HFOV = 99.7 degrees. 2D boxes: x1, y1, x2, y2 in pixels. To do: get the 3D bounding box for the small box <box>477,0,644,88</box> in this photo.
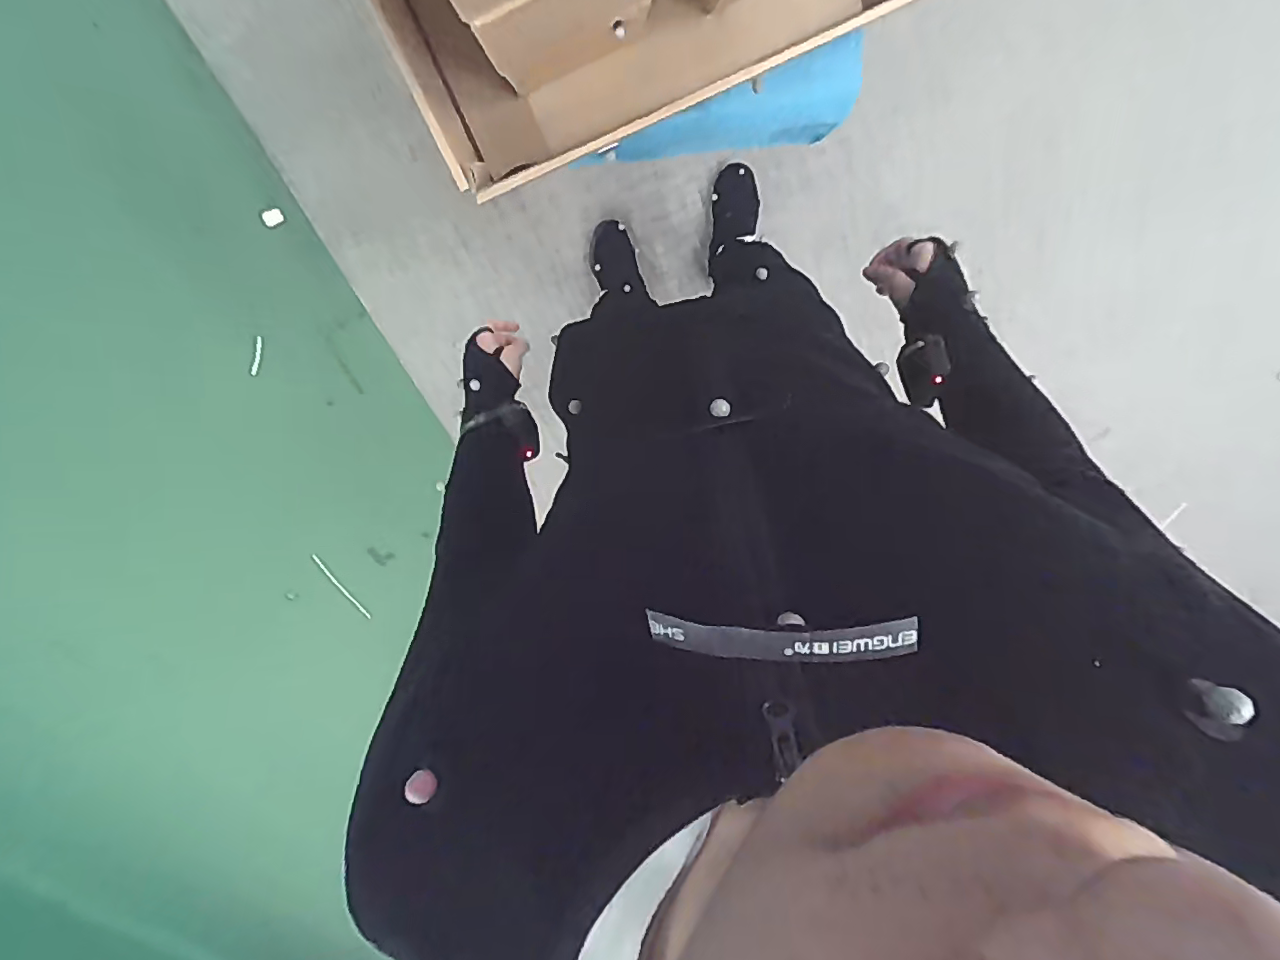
[{"bbox_3d":[-0.100,-0.566,0.592,0.179,0.176,0.168,-23,117,7],"label":"small box"}]
